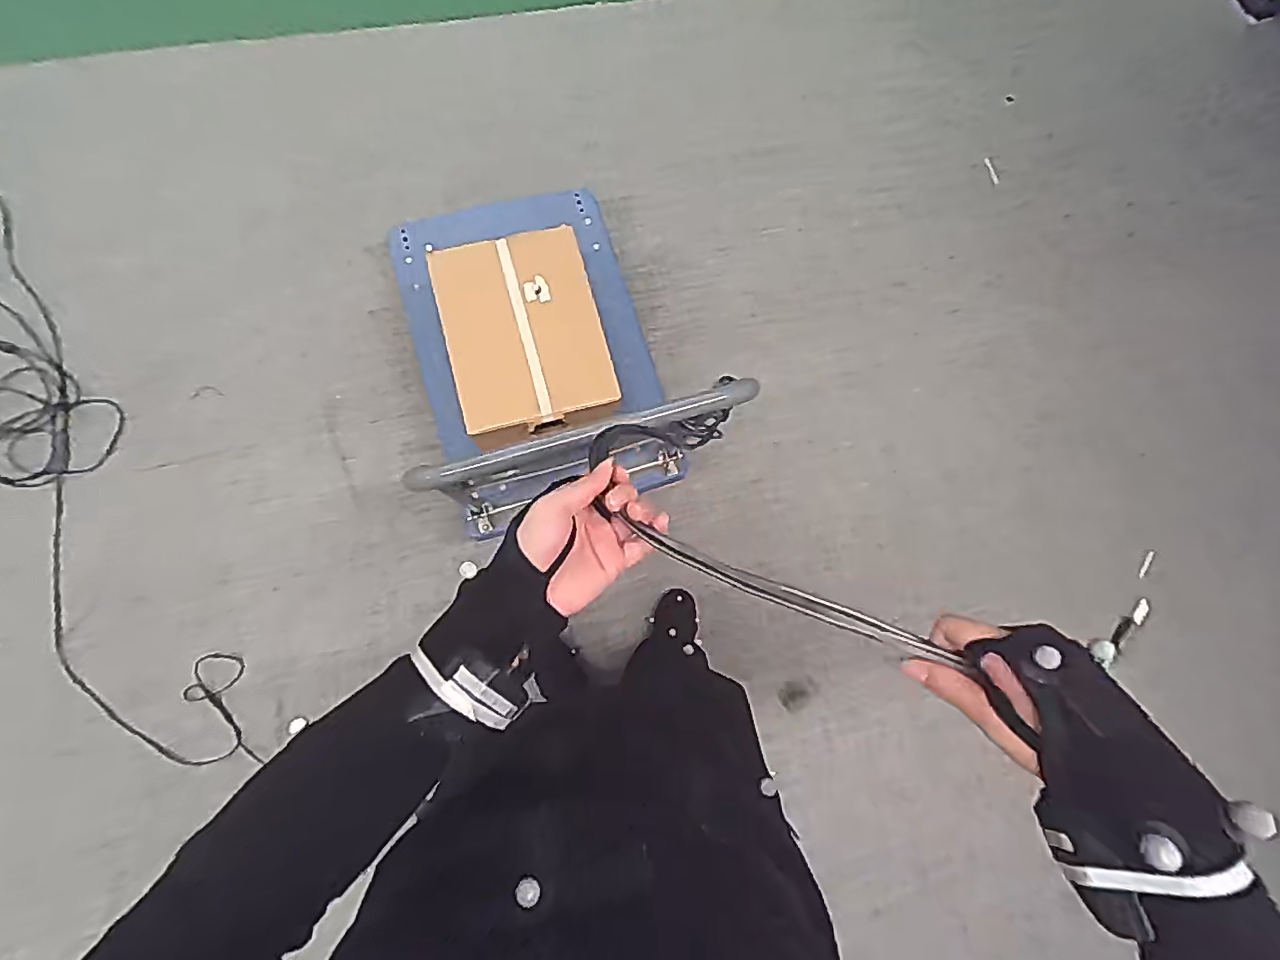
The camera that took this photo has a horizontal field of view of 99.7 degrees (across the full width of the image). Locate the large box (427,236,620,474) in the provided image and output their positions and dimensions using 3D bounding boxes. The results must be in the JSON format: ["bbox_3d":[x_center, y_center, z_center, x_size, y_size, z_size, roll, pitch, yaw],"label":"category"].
[{"bbox_3d":[-0.252,-0.268,1.250,0.320,0.320,0.408,-15,79,-9],"label":"large box"}]
